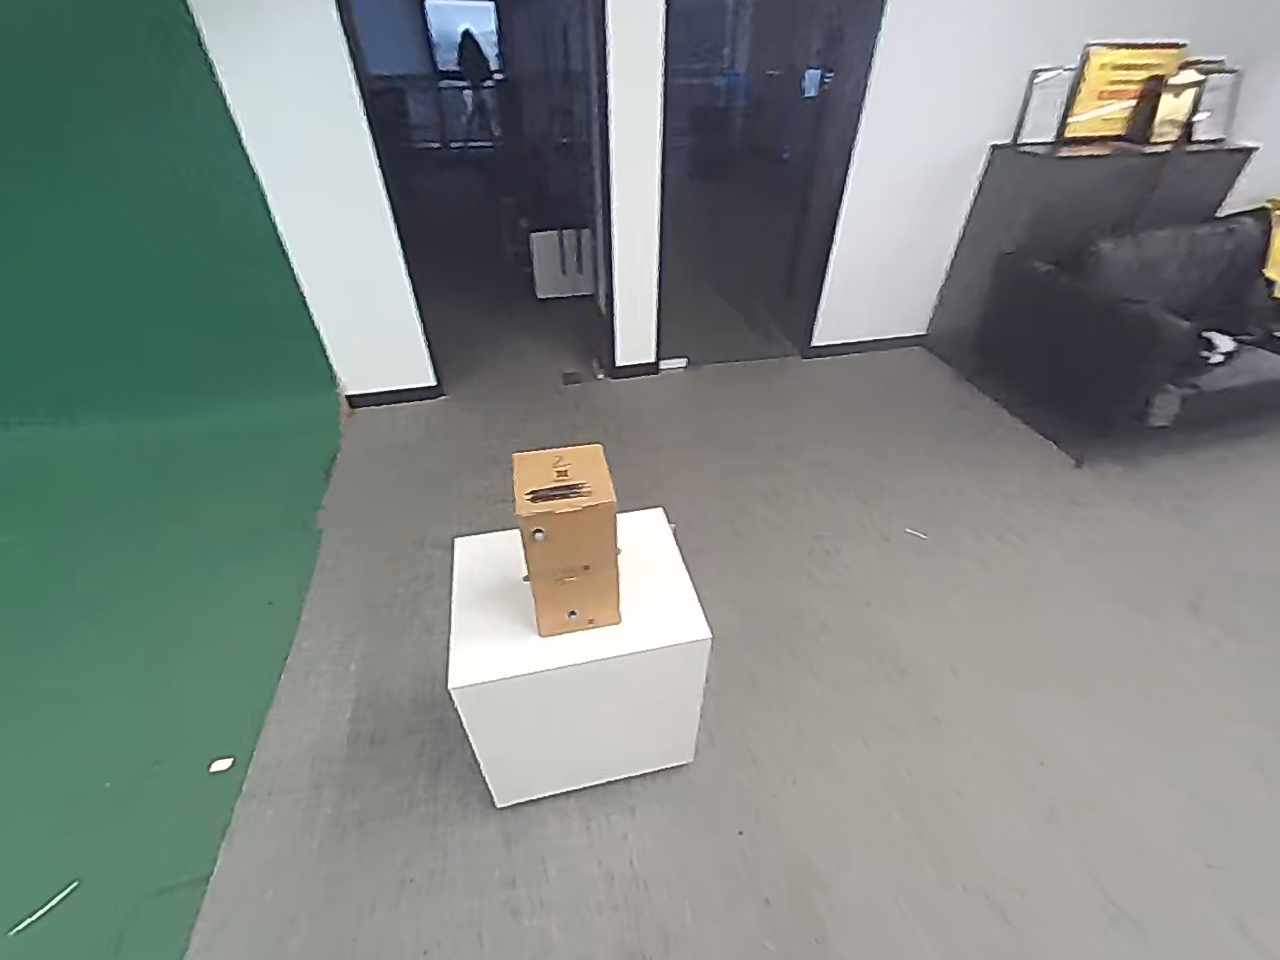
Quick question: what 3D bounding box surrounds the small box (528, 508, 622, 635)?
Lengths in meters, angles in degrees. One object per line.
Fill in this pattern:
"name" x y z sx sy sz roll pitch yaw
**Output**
"small box" -0.133 0.182 1.089 0.168 0.176 0.179 -8 39 -10
